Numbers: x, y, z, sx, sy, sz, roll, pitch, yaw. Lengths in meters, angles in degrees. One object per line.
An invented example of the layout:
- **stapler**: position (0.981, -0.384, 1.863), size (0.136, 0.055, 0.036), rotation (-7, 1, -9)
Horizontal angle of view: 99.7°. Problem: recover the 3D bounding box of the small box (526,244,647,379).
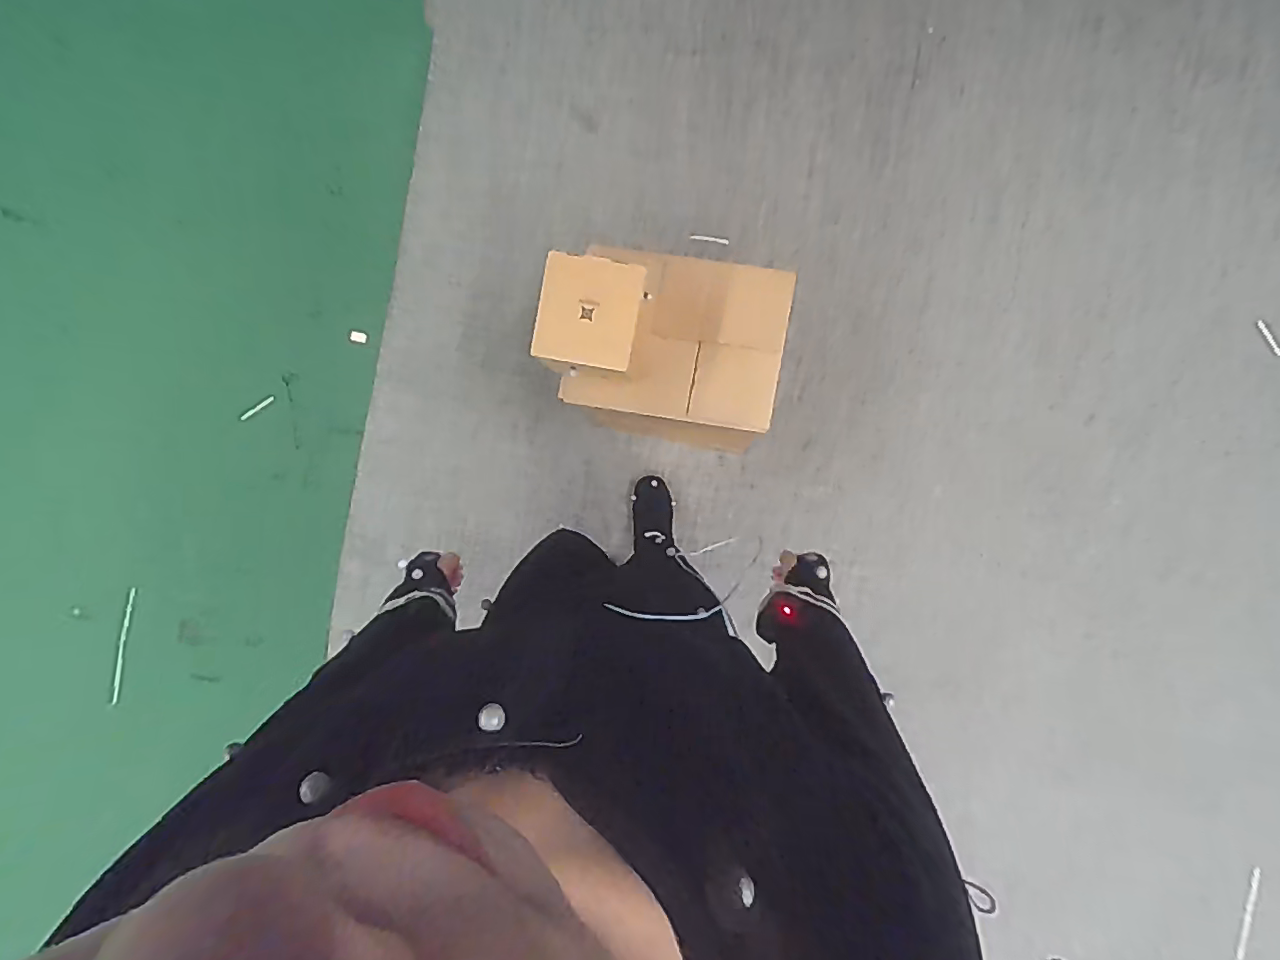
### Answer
- **small box**: position (-0.084, -0.285, 0.953), size (0.168, 0.176, 0.179), rotation (12, 93, 4)
